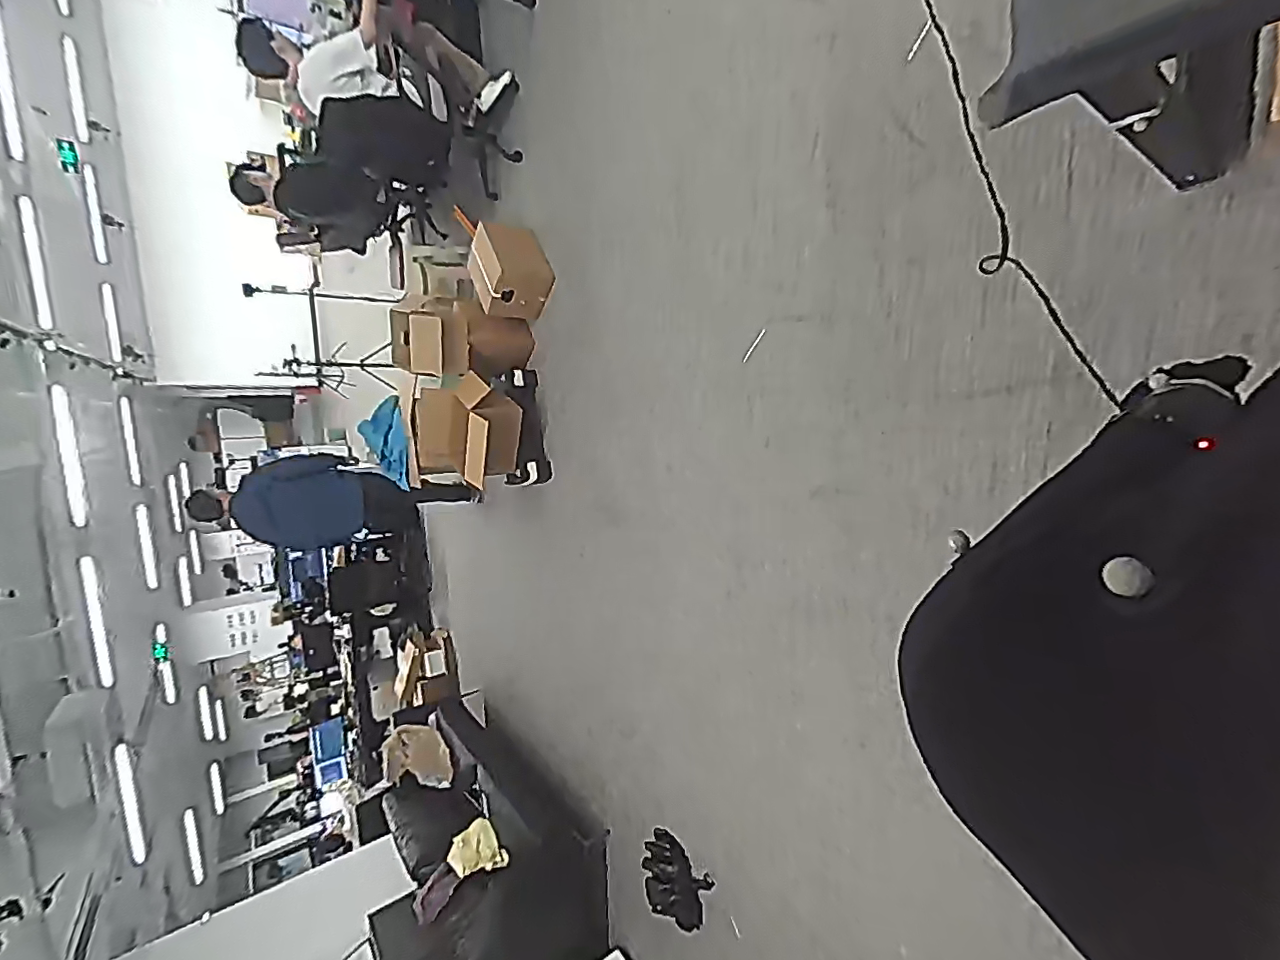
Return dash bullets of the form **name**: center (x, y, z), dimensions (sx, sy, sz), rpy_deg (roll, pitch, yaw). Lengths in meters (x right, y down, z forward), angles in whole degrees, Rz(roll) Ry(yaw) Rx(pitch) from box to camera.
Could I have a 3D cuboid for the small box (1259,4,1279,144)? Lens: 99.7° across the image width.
- **small box**: center (1.075, -0.633, 0.812), dimensions (0.168, 0.176, 0.179), rpy_deg (8, 103, 52)
